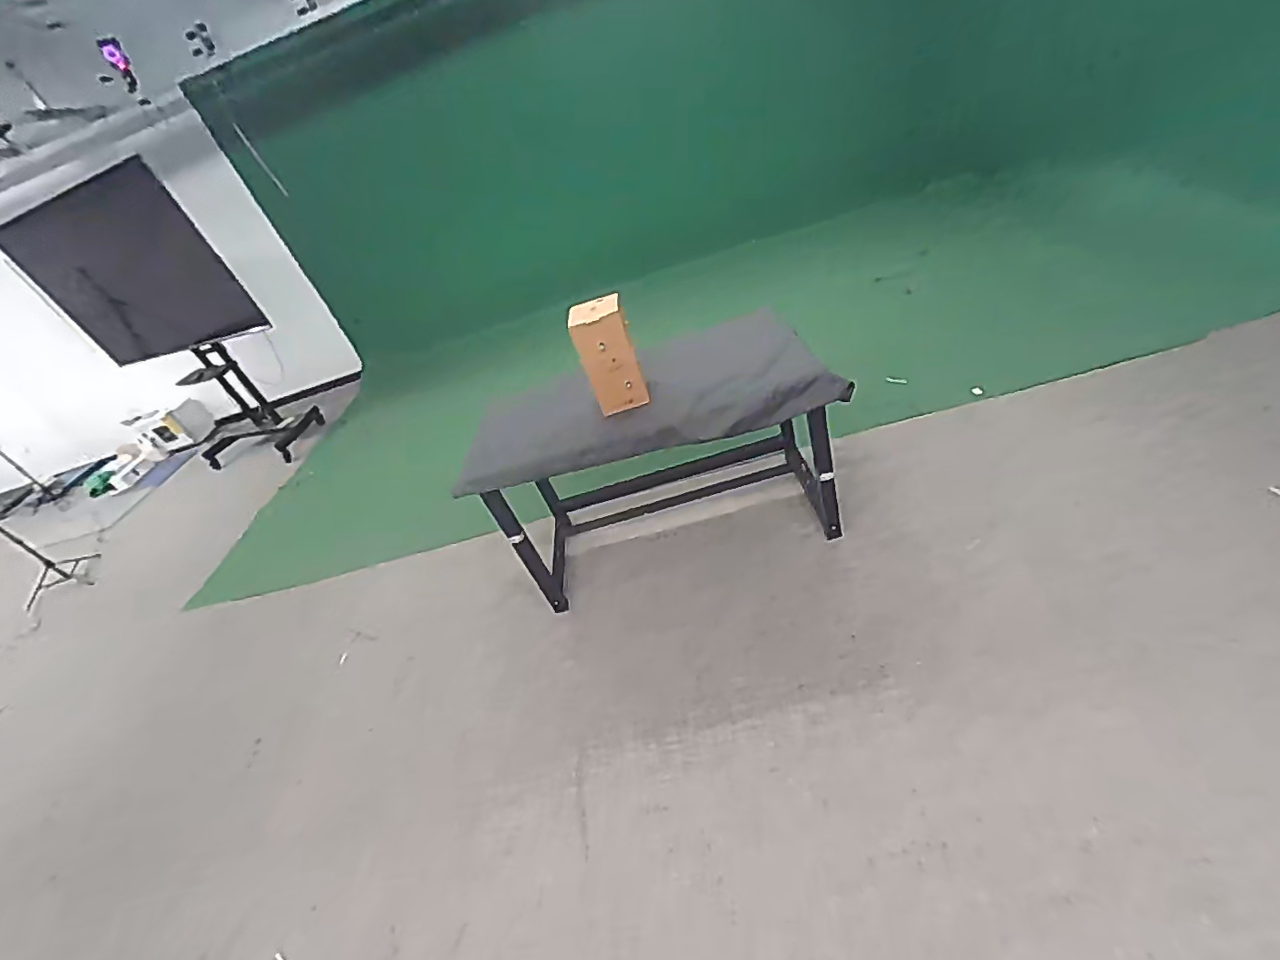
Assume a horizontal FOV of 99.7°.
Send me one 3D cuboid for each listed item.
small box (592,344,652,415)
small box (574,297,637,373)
[{"bbox_3d":[-0.060,-0.340,1.860,0.168,0.176,0.179,-15,35,6],"label":"small box"},{"bbox_3d":[-0.109,-0.468,1.769,0.168,0.176,0.179,-14,37,7],"label":"small box"}]
